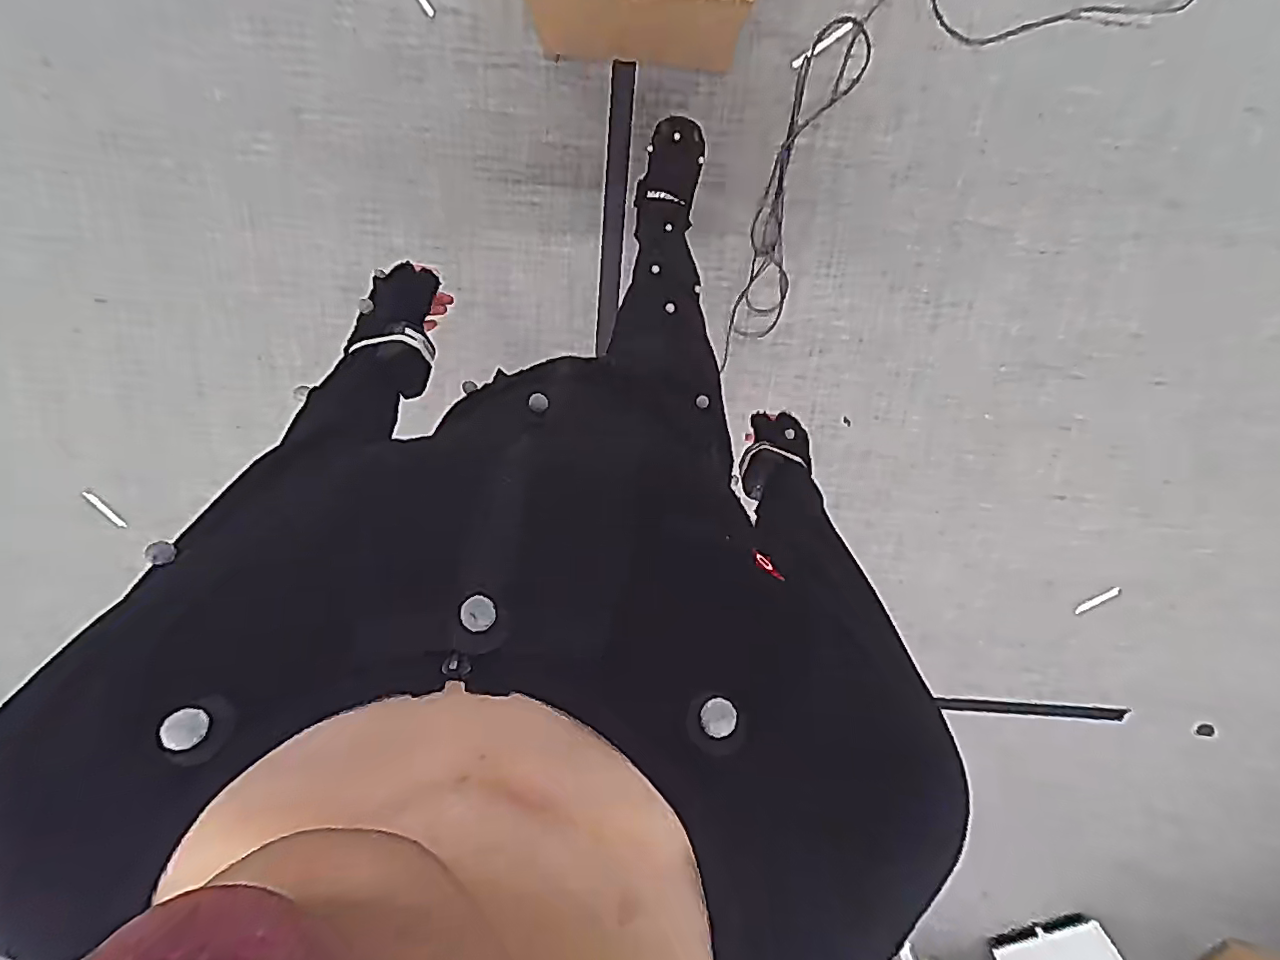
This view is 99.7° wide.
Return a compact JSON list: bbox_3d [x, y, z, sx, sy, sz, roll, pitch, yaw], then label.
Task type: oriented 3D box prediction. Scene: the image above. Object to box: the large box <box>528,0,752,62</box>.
[{"bbox_3d":[0.003,-1.001,0.967,0.408,0.320,0.320,4,110,-1],"label":"large box"}]
